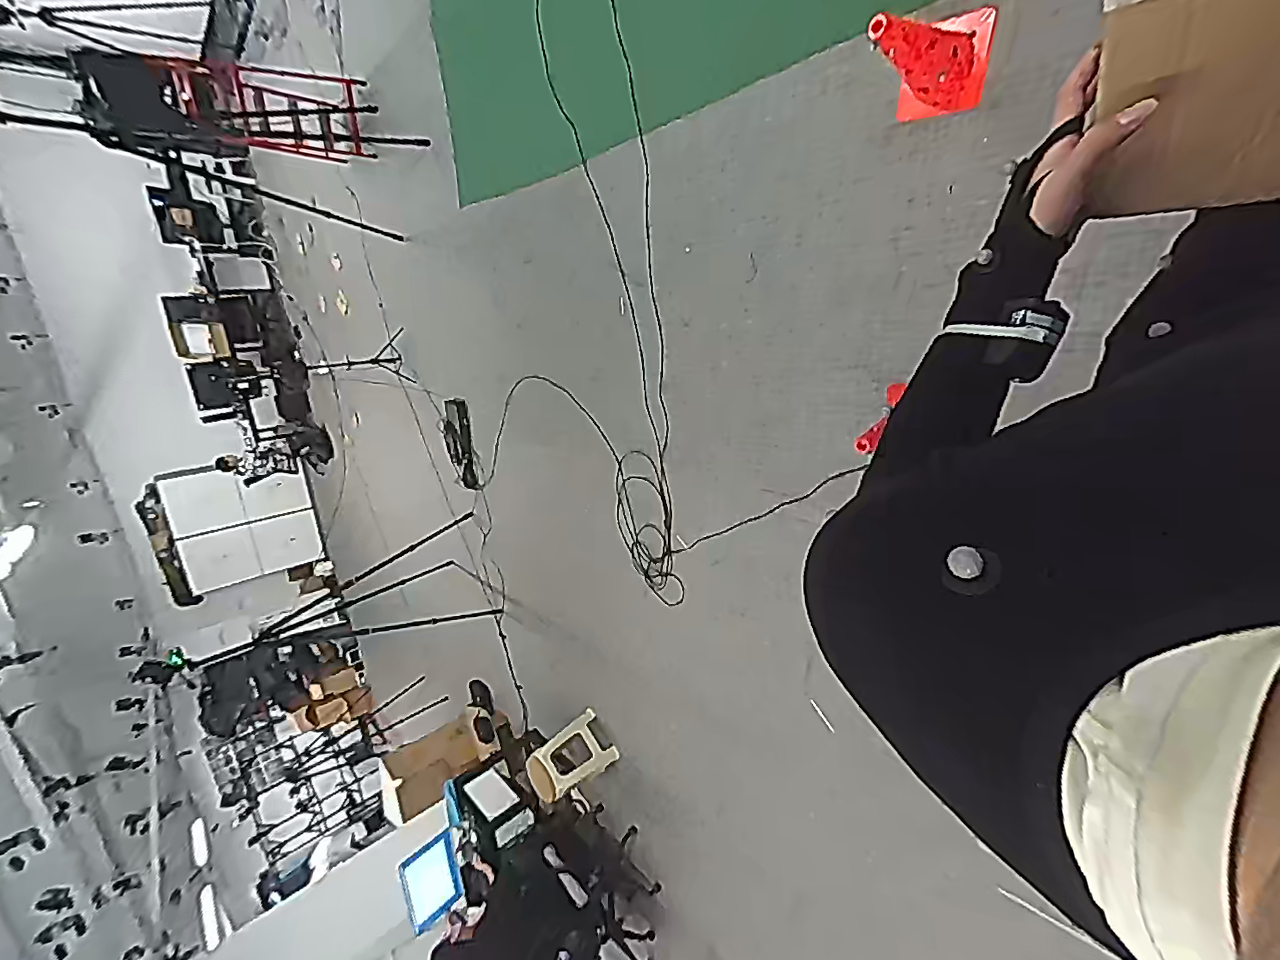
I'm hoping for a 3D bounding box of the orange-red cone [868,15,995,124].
[{"bbox_3d":[0.614,-0.961,1.220,0.199,0.360,0.198,23,120,44],"label":"orange-red cone"}]
